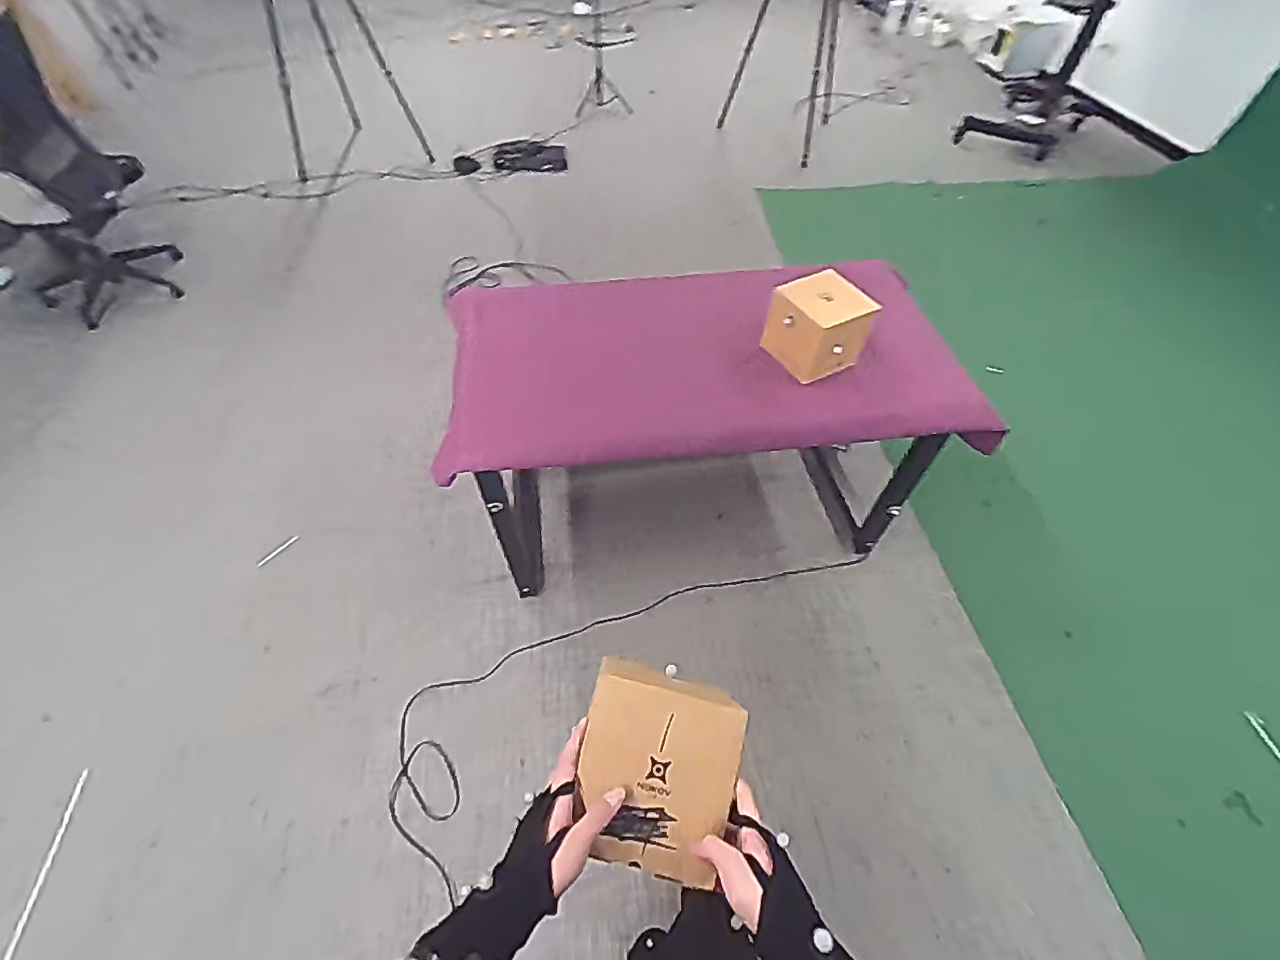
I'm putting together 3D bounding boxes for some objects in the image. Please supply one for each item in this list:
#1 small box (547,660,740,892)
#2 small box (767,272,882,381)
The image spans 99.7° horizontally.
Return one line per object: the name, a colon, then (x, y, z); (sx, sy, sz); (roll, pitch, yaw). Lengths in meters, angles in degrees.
small box: (0.003, 0.325, 0.633); (0.168, 0.176, 0.179); (15, 76, 0)
small box: (0.425, -0.354, 1.275); (0.168, 0.176, 0.179); (-23, 56, -17)
